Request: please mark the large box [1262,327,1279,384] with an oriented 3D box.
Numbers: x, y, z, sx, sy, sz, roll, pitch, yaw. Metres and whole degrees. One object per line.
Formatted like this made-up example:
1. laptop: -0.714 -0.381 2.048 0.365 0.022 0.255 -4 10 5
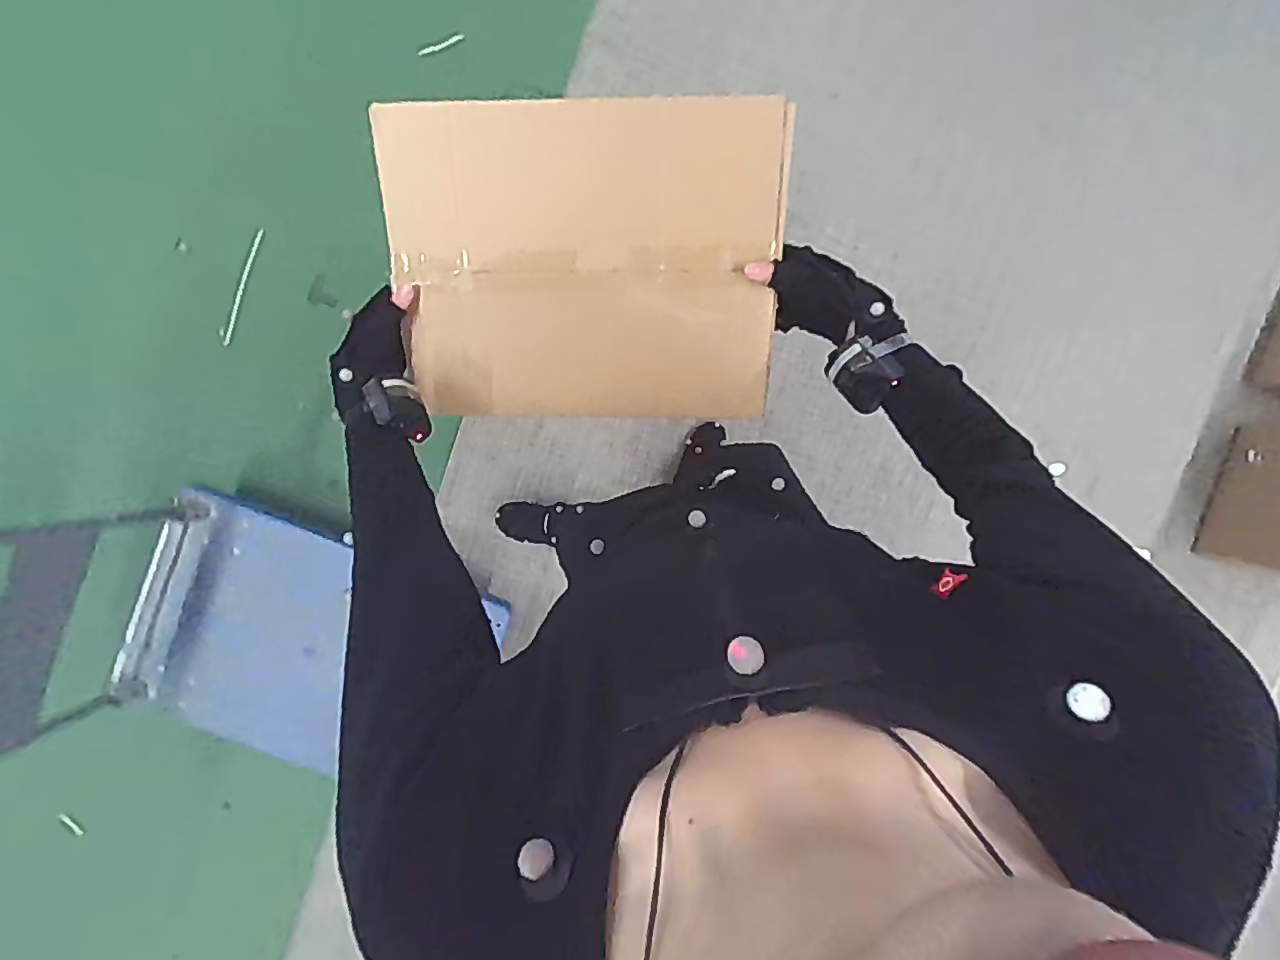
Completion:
1. large box: 1.927 -0.416 1.351 0.320 0.320 0.408 20 93 -3
